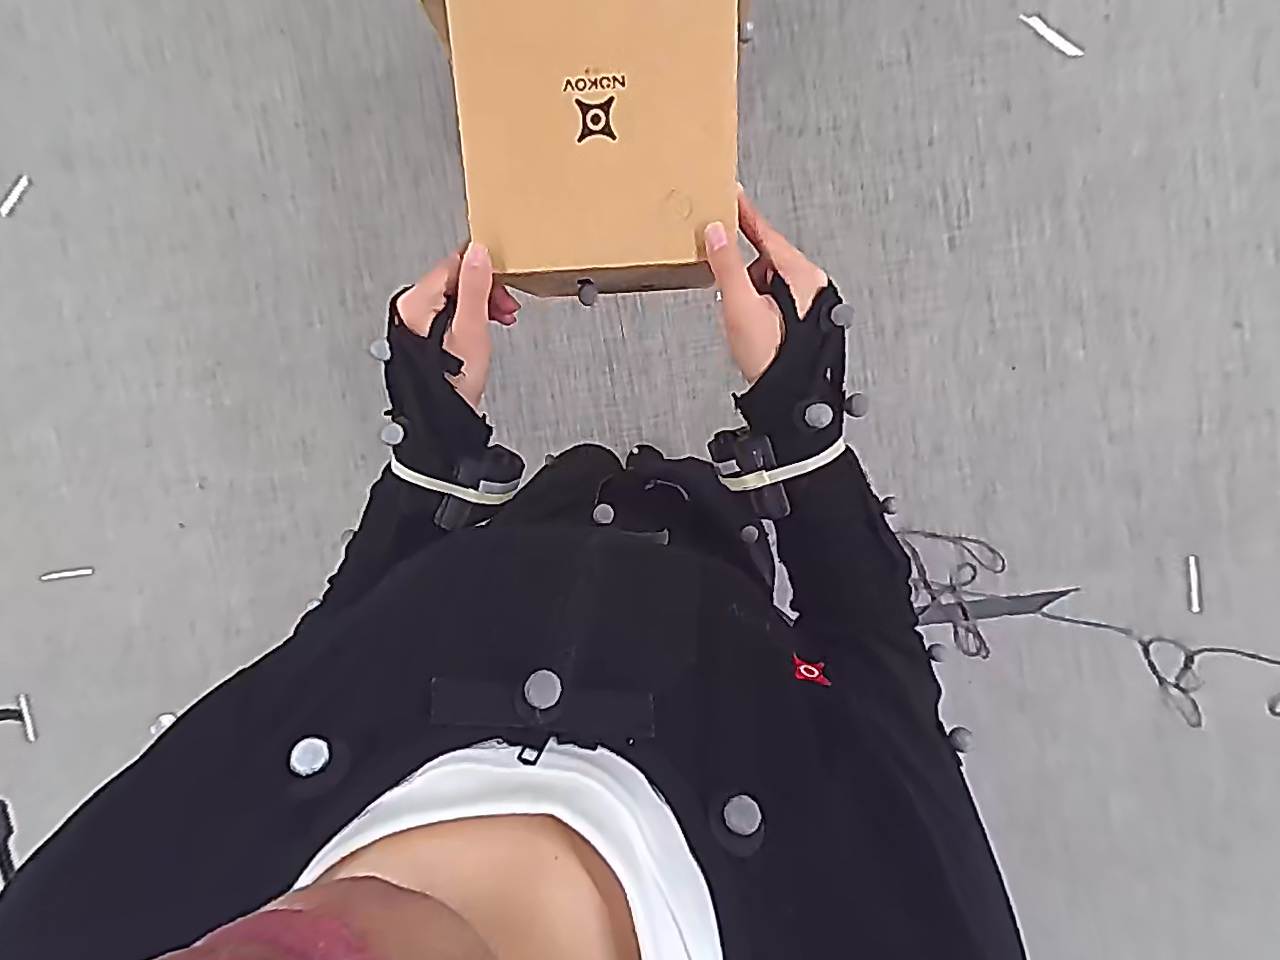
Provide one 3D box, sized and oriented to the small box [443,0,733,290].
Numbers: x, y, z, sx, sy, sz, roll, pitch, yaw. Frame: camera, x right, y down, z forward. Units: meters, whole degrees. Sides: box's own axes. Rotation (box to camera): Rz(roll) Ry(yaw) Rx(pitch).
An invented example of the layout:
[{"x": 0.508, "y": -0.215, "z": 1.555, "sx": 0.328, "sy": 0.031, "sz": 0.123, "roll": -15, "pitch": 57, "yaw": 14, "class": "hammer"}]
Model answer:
[{"x": -0.022, "y": -0.237, "z": 0.390, "sx": 0.168, "sy": 0.176, "sz": 0.179, "roll": -2, "pitch": 102, "yaw": 4, "class": "small box"}]
